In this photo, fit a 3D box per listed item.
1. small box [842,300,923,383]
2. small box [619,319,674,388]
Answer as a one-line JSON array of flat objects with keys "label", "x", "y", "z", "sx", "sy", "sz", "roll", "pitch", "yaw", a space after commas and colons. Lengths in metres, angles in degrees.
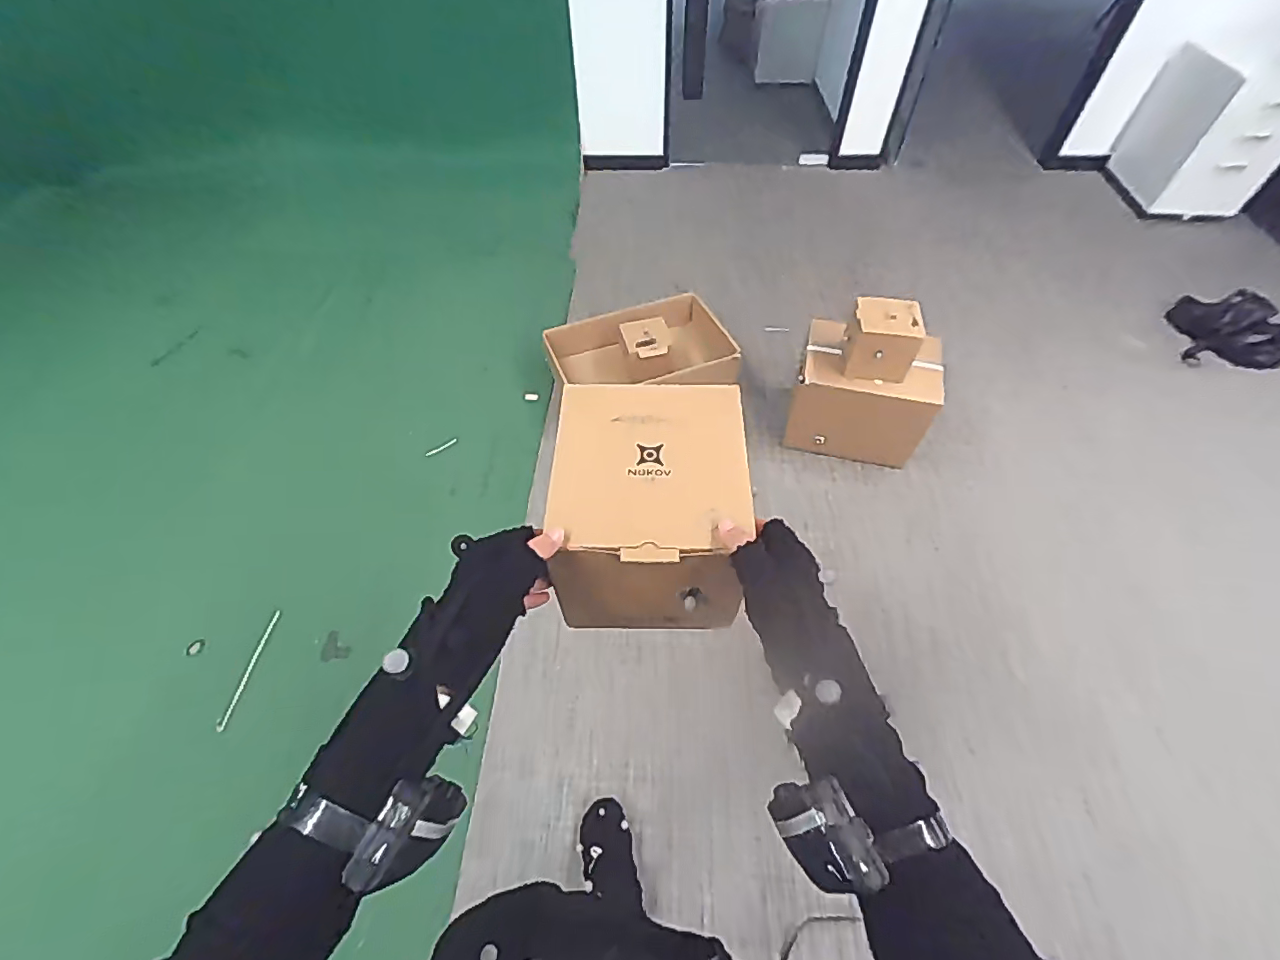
[{"label": "small box", "x": 0.700, "y": -0.405, "z": 1.590, "sx": 0.179, "sy": 0.176, "sz": 0.168, "roll": 7, "pitch": 54, "yaw": 7}, {"label": "small box", "x": 0.025, "y": -0.452, "z": 1.963, "sx": 0.168, "sy": 0.176, "sz": 0.179, "roll": -12, "pitch": 52, "yaw": -7}]
